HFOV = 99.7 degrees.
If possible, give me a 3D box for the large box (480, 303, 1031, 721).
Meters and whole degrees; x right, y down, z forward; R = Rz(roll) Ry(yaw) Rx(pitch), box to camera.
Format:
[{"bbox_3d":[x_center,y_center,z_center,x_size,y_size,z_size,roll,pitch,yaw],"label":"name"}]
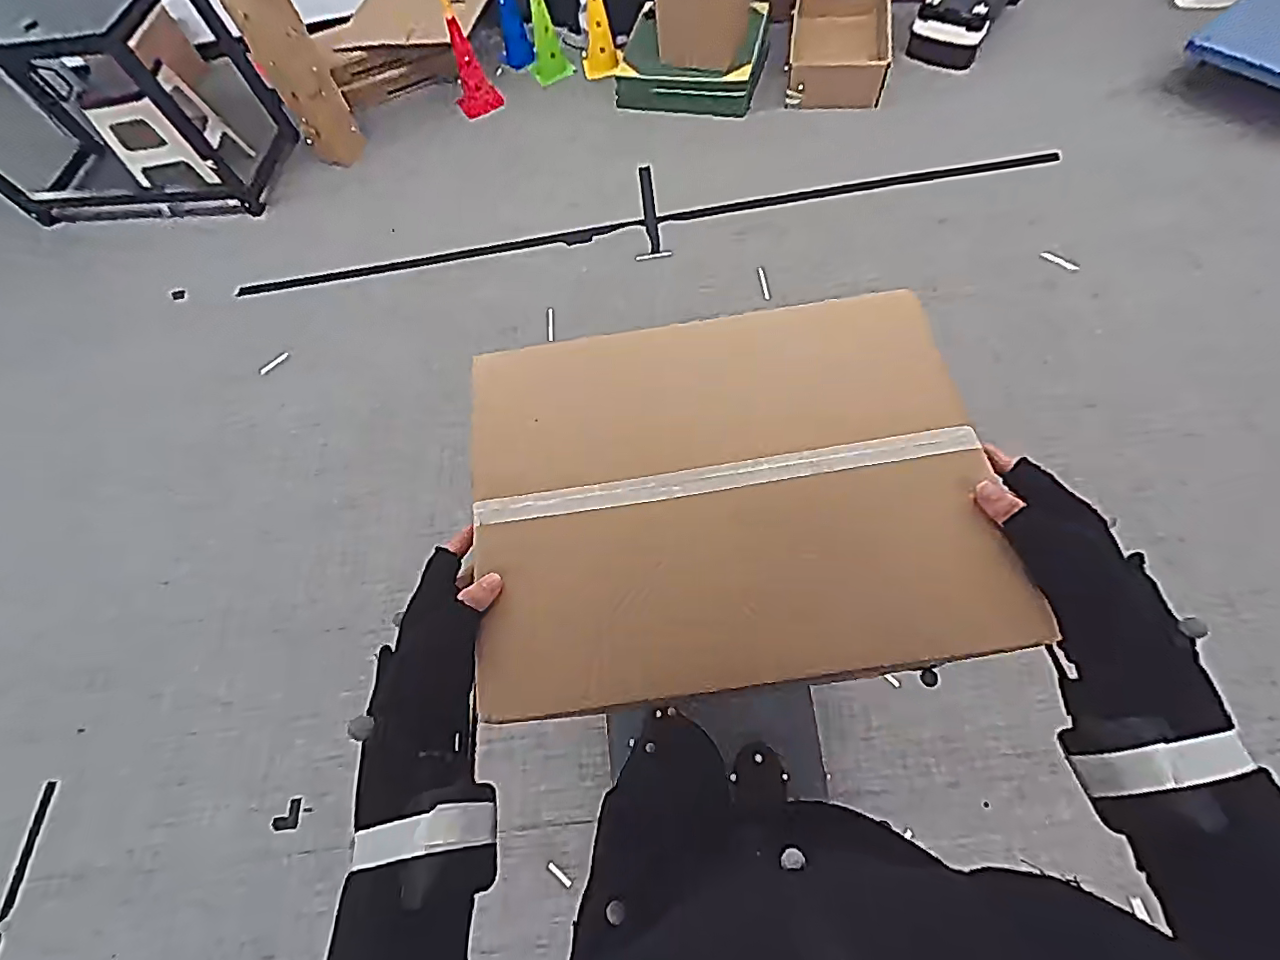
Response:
[{"bbox_3d":[0.078,0.060,0.581,0.408,0.320,0.320,-8,66,1],"label":"large box"}]
